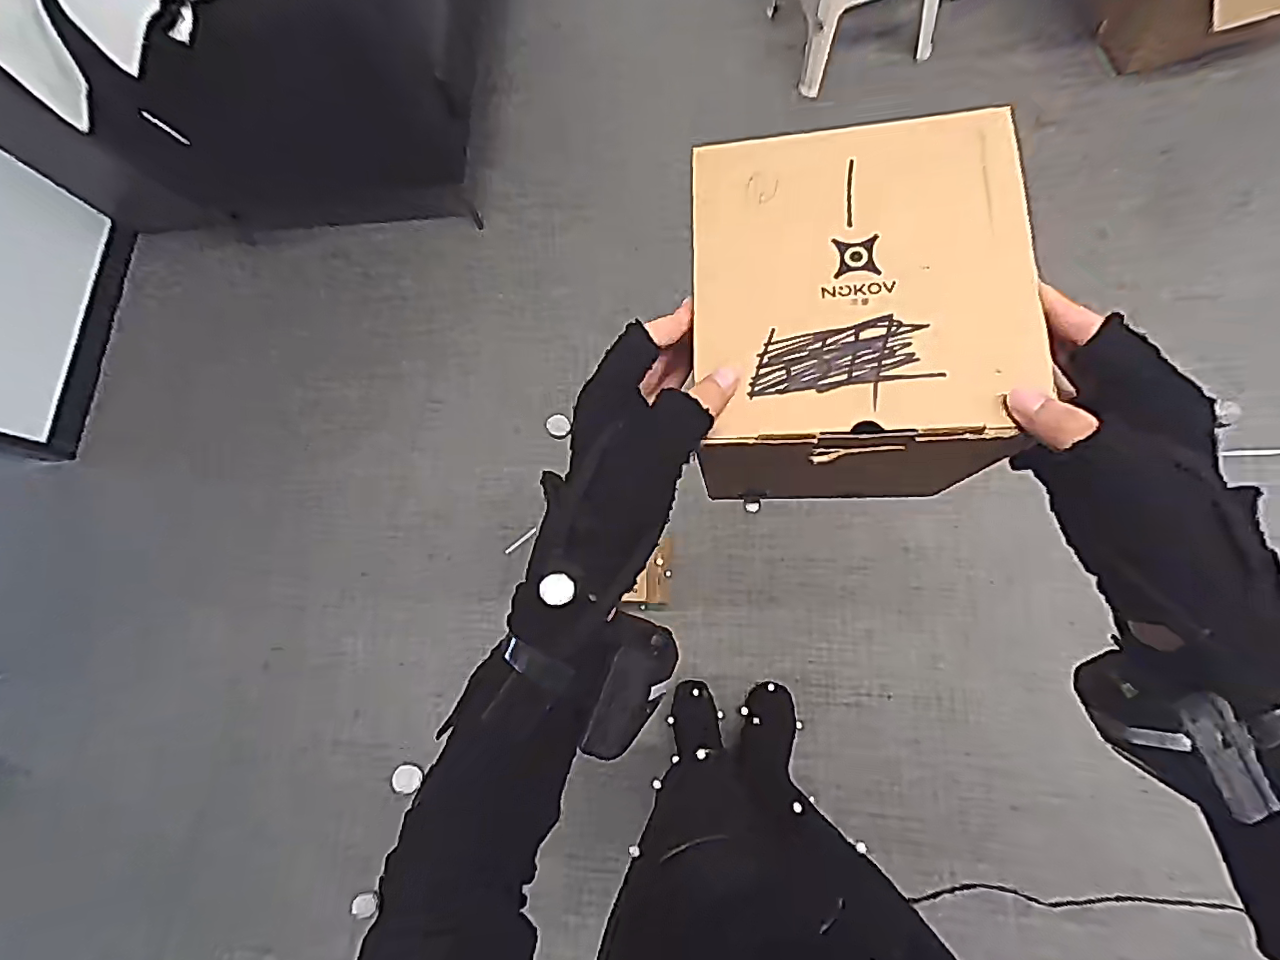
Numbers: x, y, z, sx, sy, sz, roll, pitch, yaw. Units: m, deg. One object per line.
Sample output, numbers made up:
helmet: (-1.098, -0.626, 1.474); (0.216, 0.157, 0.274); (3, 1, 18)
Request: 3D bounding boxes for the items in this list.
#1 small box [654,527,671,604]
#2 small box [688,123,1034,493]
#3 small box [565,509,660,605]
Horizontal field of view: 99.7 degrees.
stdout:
small box: (-0.023, 0.205, 1.283); (0.179, 0.176, 0.168); (0, 76, 9)
small box: (0.123, -0.089, 0.363); (0.168, 0.176, 0.179); (-1, 77, 10)
small box: (-0.049, 0.165, 1.125); (0.168, 0.176, 0.179); (0, 75, 9)
